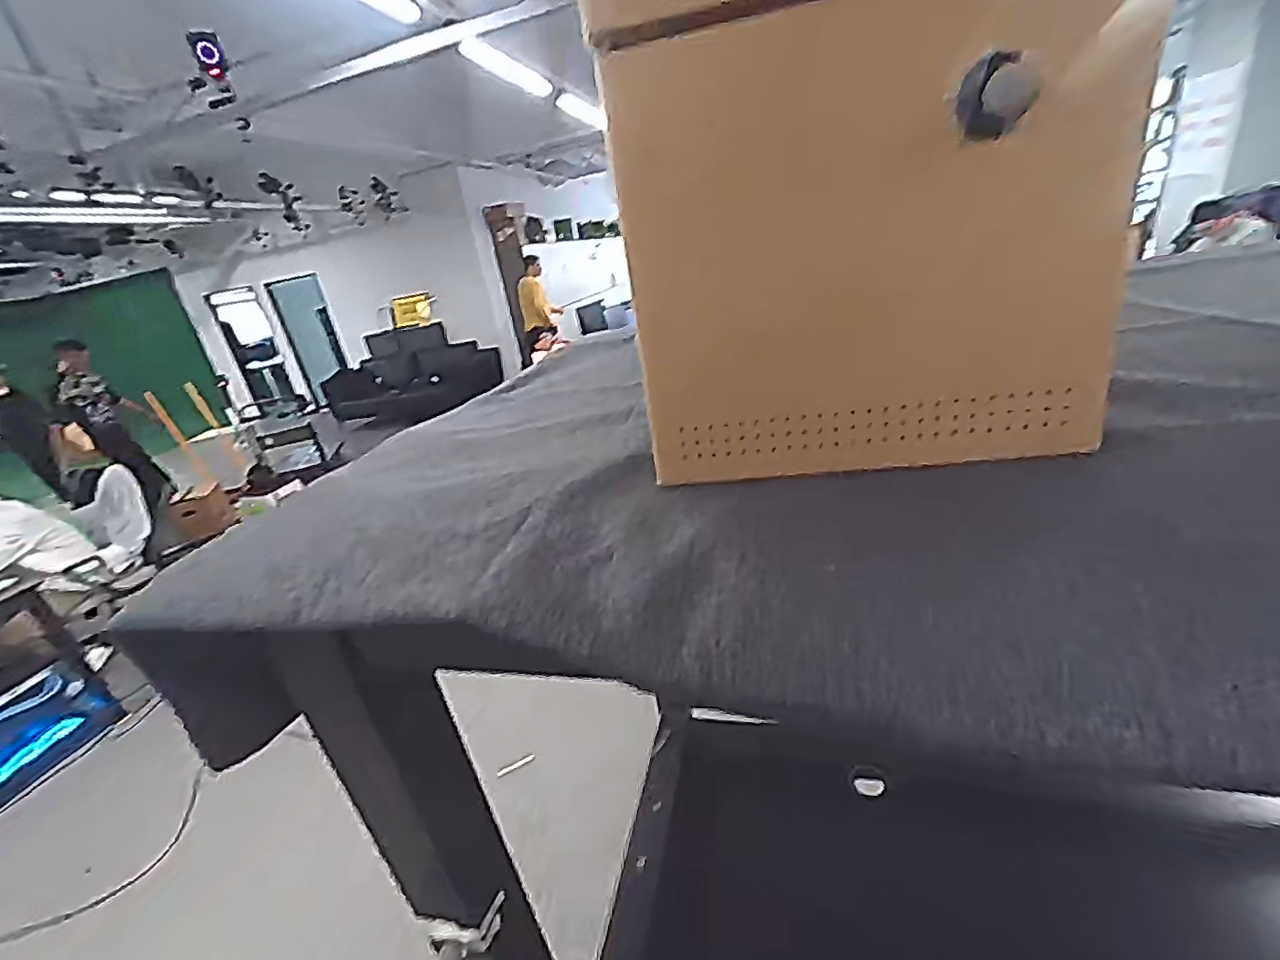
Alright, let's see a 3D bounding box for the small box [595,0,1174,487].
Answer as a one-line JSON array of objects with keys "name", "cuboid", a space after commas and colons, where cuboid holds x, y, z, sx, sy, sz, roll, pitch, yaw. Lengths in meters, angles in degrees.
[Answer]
[{"name": "small box", "cuboid": [0.094, -0.106, 0.270, 0.179, 0.176, 0.168, -5, 21, 13]}]
